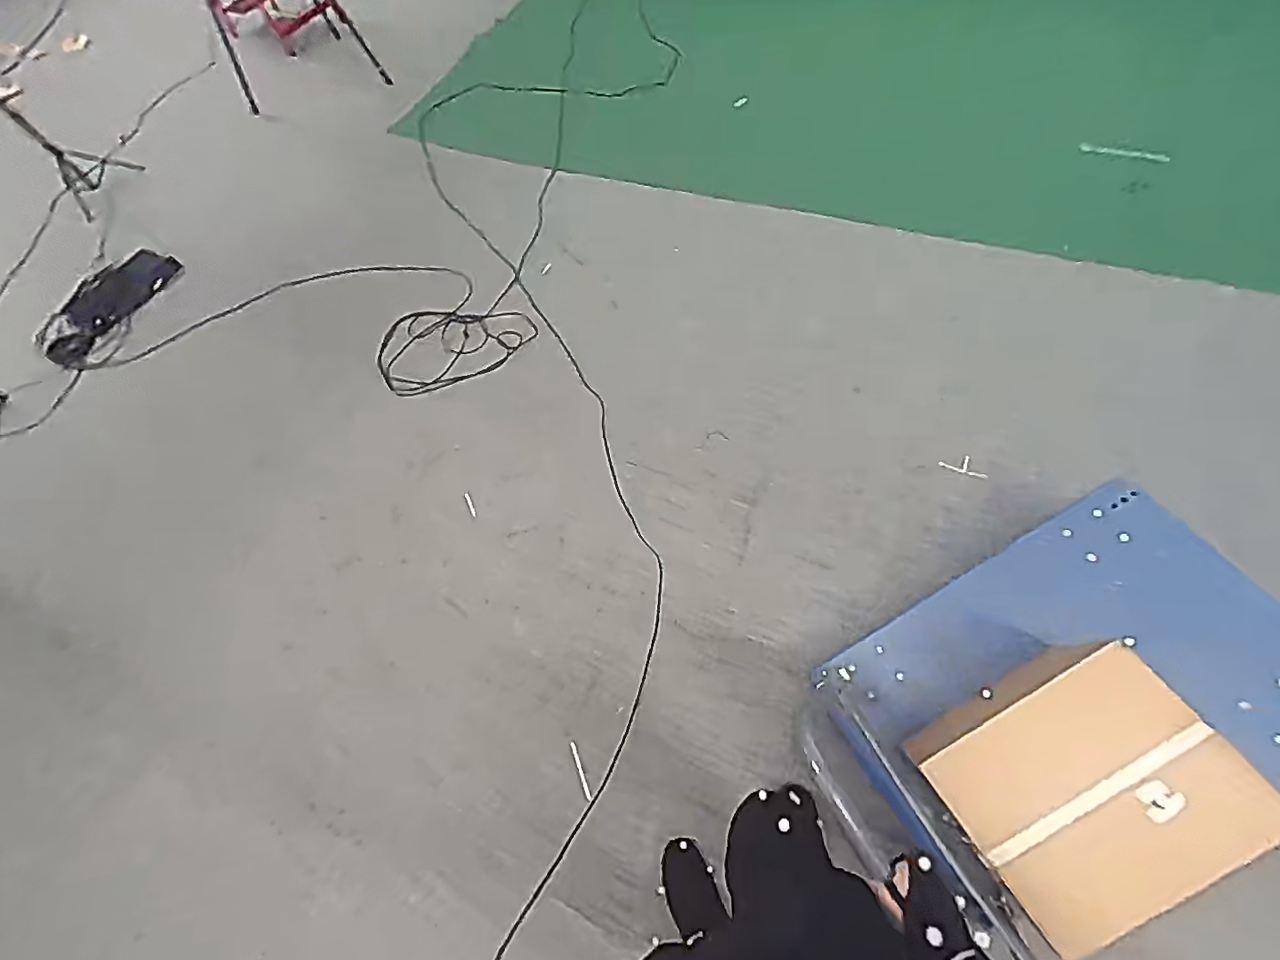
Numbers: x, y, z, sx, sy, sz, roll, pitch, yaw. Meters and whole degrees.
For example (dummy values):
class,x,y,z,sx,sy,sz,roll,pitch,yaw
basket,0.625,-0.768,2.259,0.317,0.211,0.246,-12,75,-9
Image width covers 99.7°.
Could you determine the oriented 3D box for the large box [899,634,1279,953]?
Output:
class,x,y,z,sx,sy,sz,roll,pitch,yaw
large box,0.763,0.540,0.999,0.408,0.320,0.320,-35,64,4
